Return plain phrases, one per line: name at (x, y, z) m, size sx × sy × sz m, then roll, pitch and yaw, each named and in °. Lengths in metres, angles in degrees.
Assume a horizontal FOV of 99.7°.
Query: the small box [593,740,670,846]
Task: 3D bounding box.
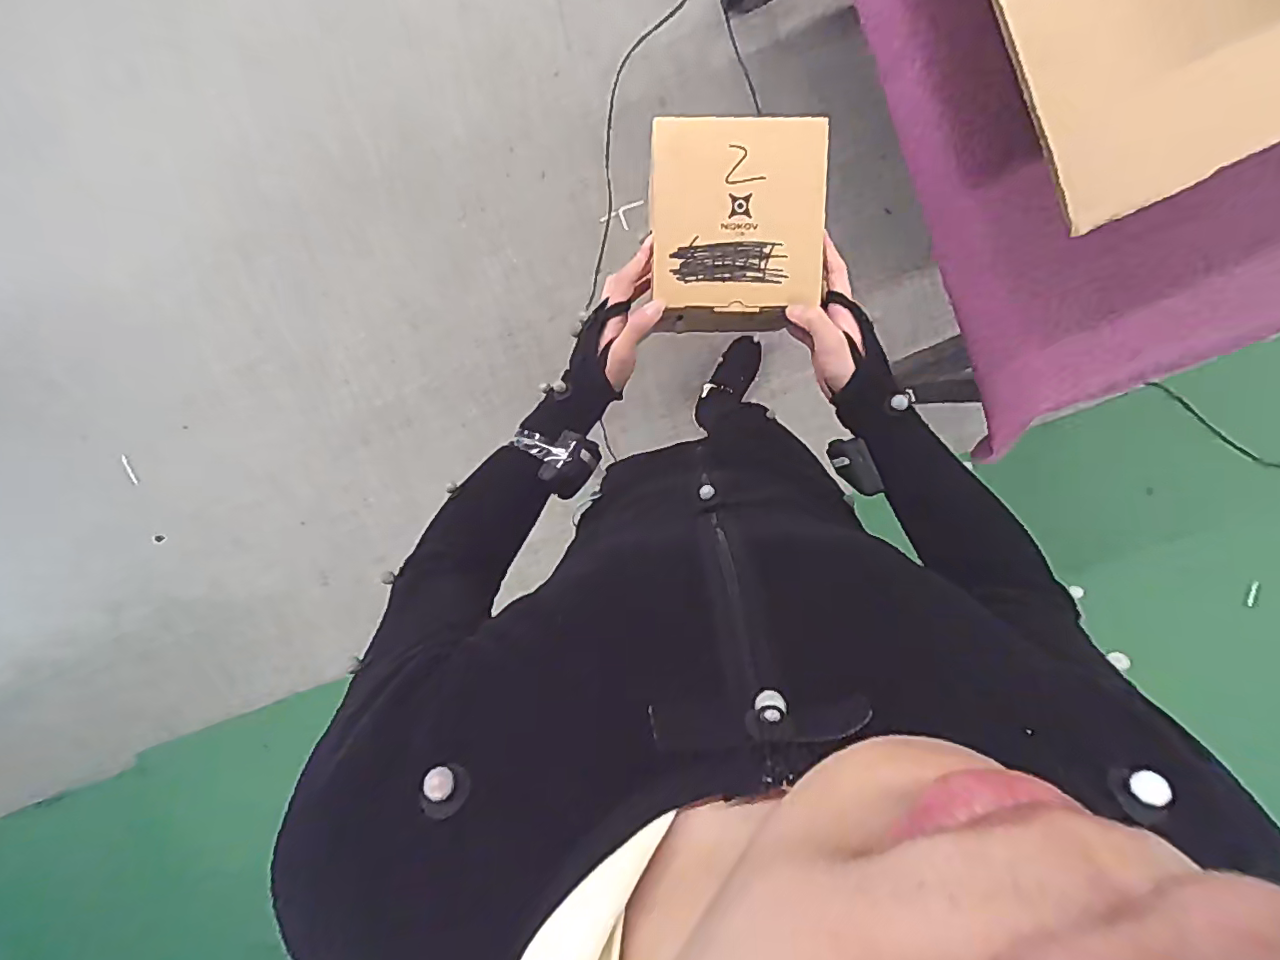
small box at (-0.017, 0.858, 1.491) m, size 0.168 × 0.176 × 0.179 m, roll -16°, pitch 96°, yaw 6°
